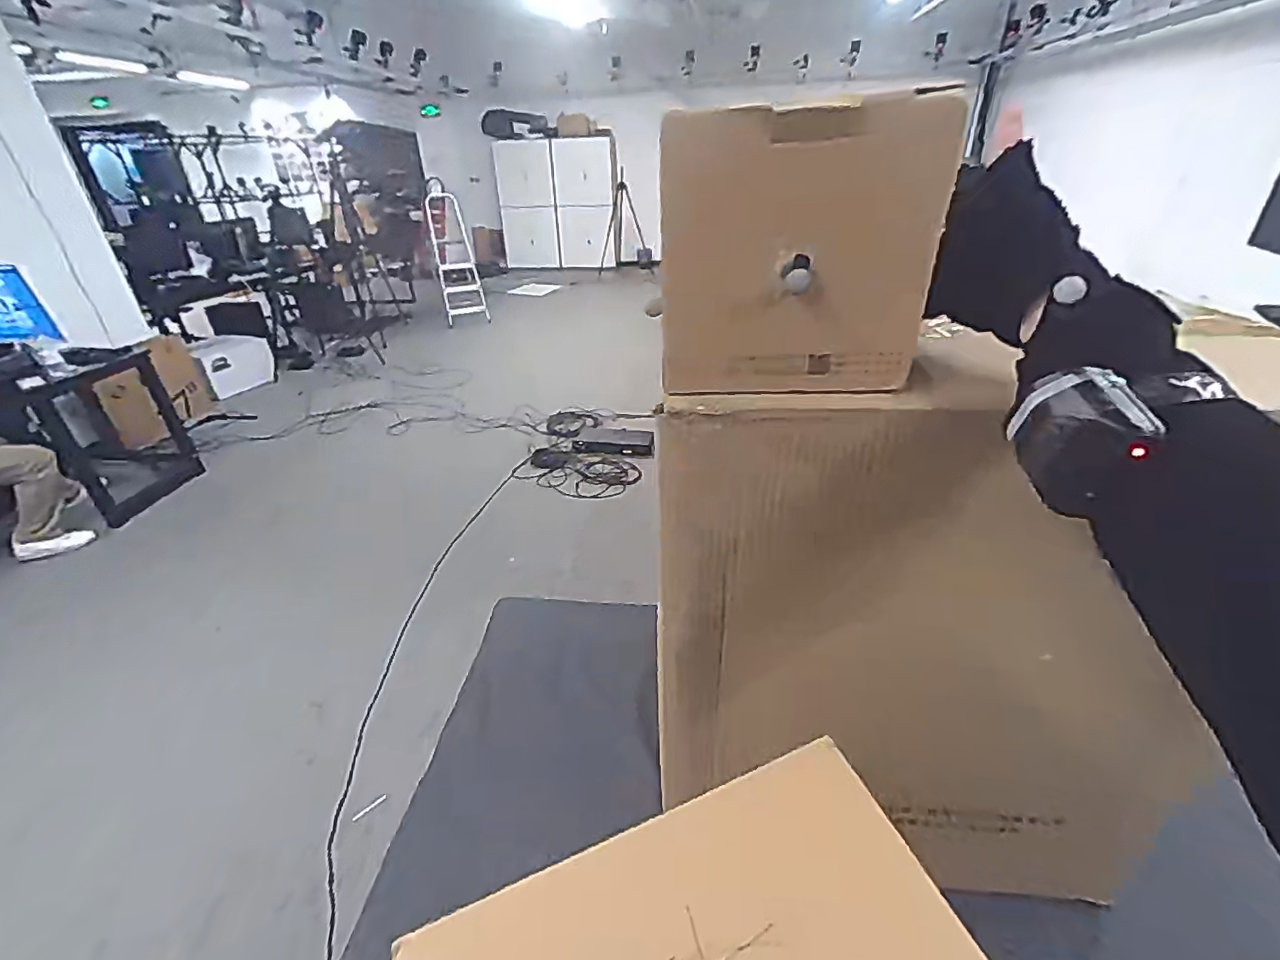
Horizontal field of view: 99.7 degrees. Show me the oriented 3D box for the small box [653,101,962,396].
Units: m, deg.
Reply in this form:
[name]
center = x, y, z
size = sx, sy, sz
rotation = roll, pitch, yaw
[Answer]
[small box]
center = 0.101, -0.170, 0.400
size = 0.168, 0.176, 0.179
rotation = 1, 33, 6
